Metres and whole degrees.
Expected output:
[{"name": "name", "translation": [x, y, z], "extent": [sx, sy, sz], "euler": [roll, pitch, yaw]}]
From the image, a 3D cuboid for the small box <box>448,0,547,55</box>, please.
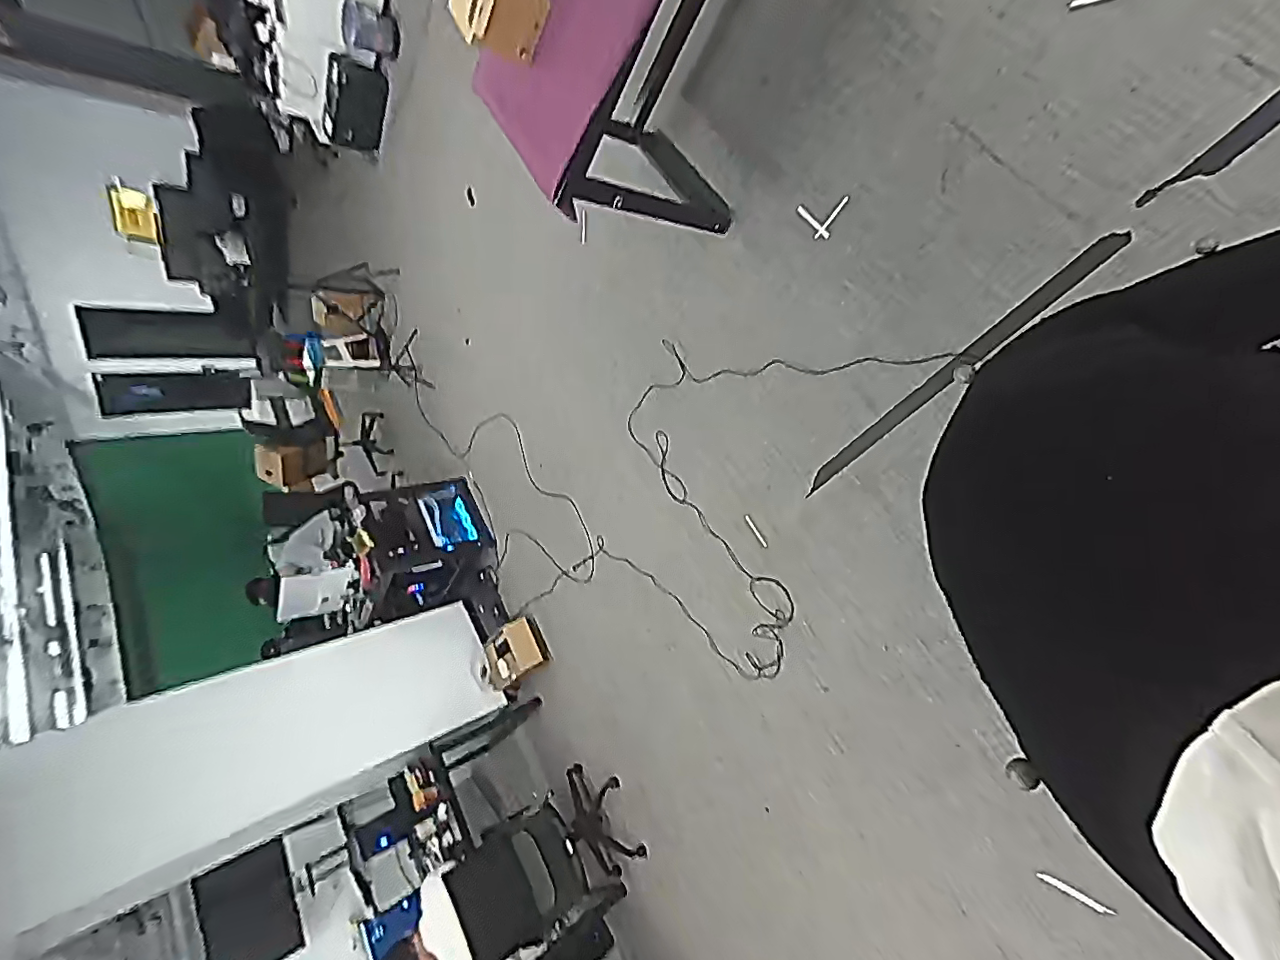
[{"name": "small box", "translation": [-0.362, -1.228, 1.372], "extent": [0.168, 0.176, 0.179], "euler": [-42, 68, 44]}]
